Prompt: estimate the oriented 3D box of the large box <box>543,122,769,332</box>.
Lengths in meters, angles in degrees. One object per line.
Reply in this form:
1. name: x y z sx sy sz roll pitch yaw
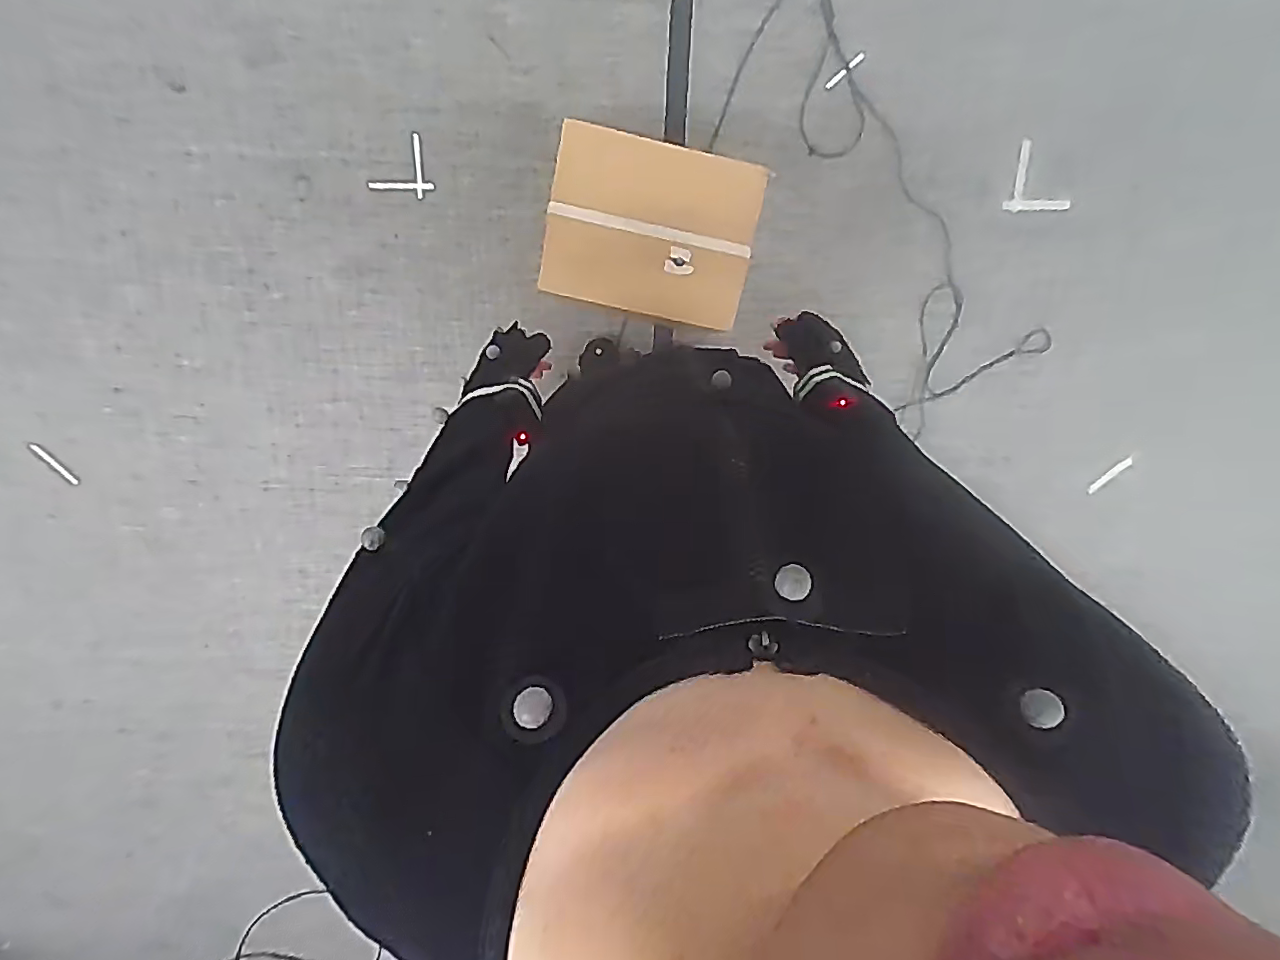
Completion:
1. large box: 0.020 -0.525 1.200 0.408 0.320 0.320 11 103 -5
